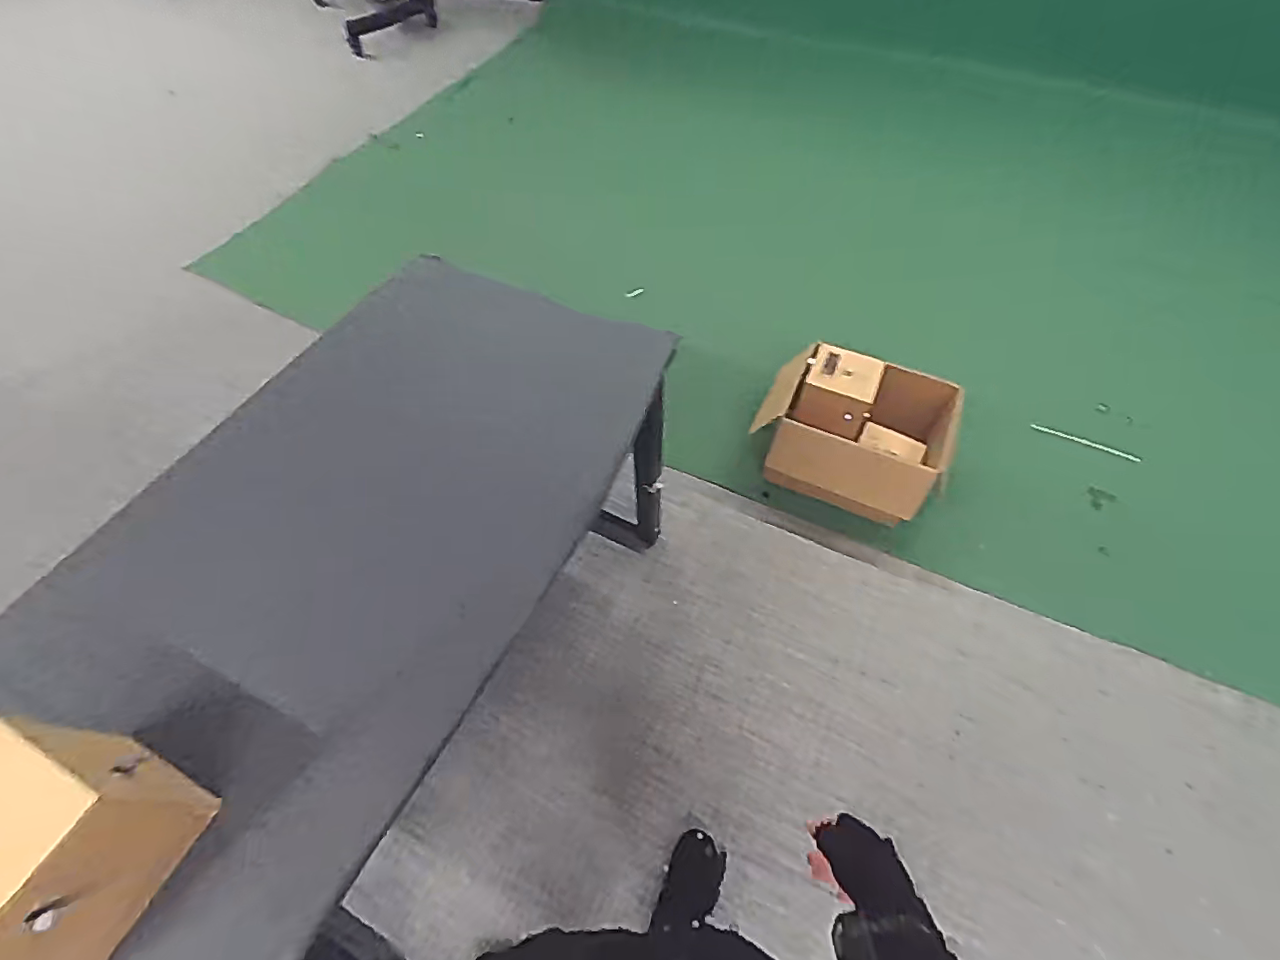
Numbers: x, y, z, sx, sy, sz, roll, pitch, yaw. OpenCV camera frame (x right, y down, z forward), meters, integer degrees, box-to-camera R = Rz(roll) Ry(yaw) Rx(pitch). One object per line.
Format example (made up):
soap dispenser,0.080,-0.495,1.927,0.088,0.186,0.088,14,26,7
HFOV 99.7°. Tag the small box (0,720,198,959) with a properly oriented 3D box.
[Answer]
small box,-0.582,0.357,0.517,0.168,0.176,0.179,21,61,14
